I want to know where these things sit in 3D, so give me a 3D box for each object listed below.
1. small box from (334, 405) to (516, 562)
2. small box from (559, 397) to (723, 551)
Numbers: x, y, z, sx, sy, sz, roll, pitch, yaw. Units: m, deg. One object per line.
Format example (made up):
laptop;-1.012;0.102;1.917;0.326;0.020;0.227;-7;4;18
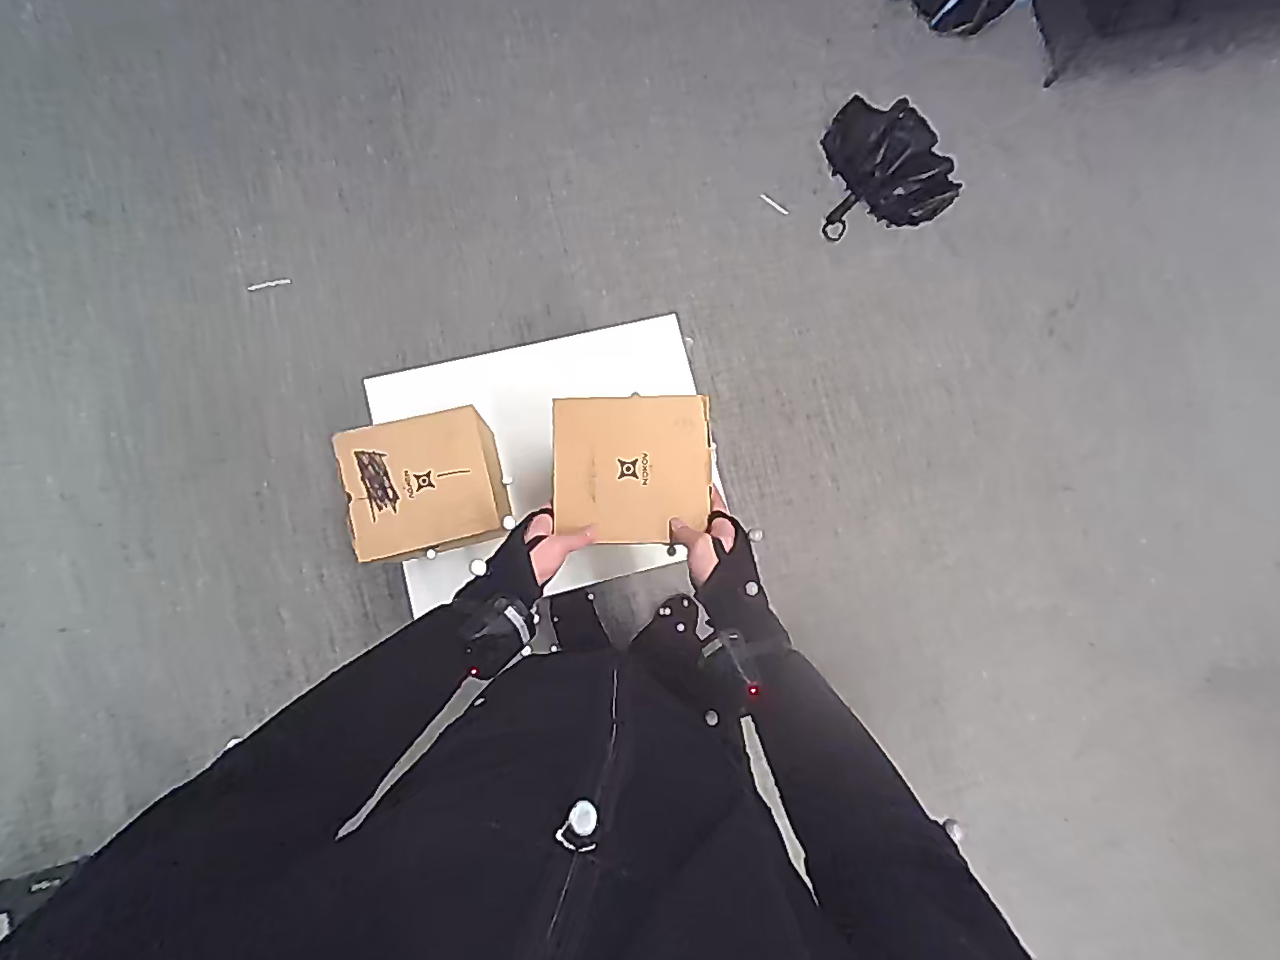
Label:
small box;-0.277;0.013;0.733;0.179;0.176;0.168;-13;85;-9
small box;0.001;0.001;0.664;0.179;0.176;0.168;-2;82;2
